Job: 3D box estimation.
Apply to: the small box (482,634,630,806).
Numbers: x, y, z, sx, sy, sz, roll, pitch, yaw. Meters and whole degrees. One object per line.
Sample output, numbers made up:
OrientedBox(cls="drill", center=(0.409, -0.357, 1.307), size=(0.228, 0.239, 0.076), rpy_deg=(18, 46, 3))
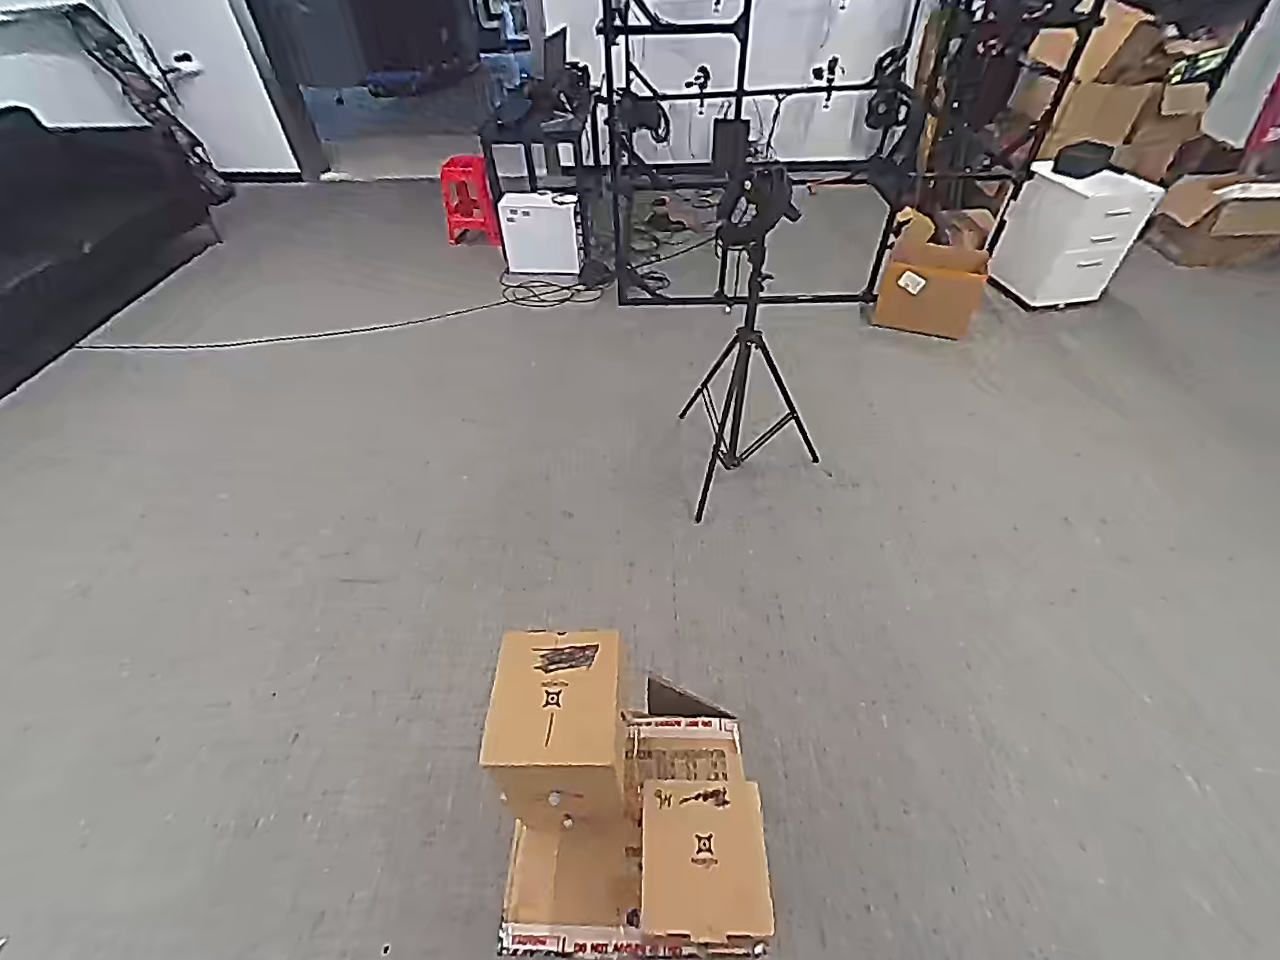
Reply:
OrientedBox(cls="small box", center=(-0.103, 0.334, 0.755), size=(0.168, 0.176, 0.179), rpy_deg=(-2, 48, 3))

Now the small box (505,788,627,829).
OrientedBox(cls="small box", center=(-0.110, 0.444, 0.878), size=(0.168, 0.176, 0.179), rpy_deg=(-5, 48, 0))

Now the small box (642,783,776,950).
OrientedBox(cls="small box", center=(0.089, 0.550, 0.768), size=(0.168, 0.176, 0.179), rpy_deg=(0, 47, 1))
